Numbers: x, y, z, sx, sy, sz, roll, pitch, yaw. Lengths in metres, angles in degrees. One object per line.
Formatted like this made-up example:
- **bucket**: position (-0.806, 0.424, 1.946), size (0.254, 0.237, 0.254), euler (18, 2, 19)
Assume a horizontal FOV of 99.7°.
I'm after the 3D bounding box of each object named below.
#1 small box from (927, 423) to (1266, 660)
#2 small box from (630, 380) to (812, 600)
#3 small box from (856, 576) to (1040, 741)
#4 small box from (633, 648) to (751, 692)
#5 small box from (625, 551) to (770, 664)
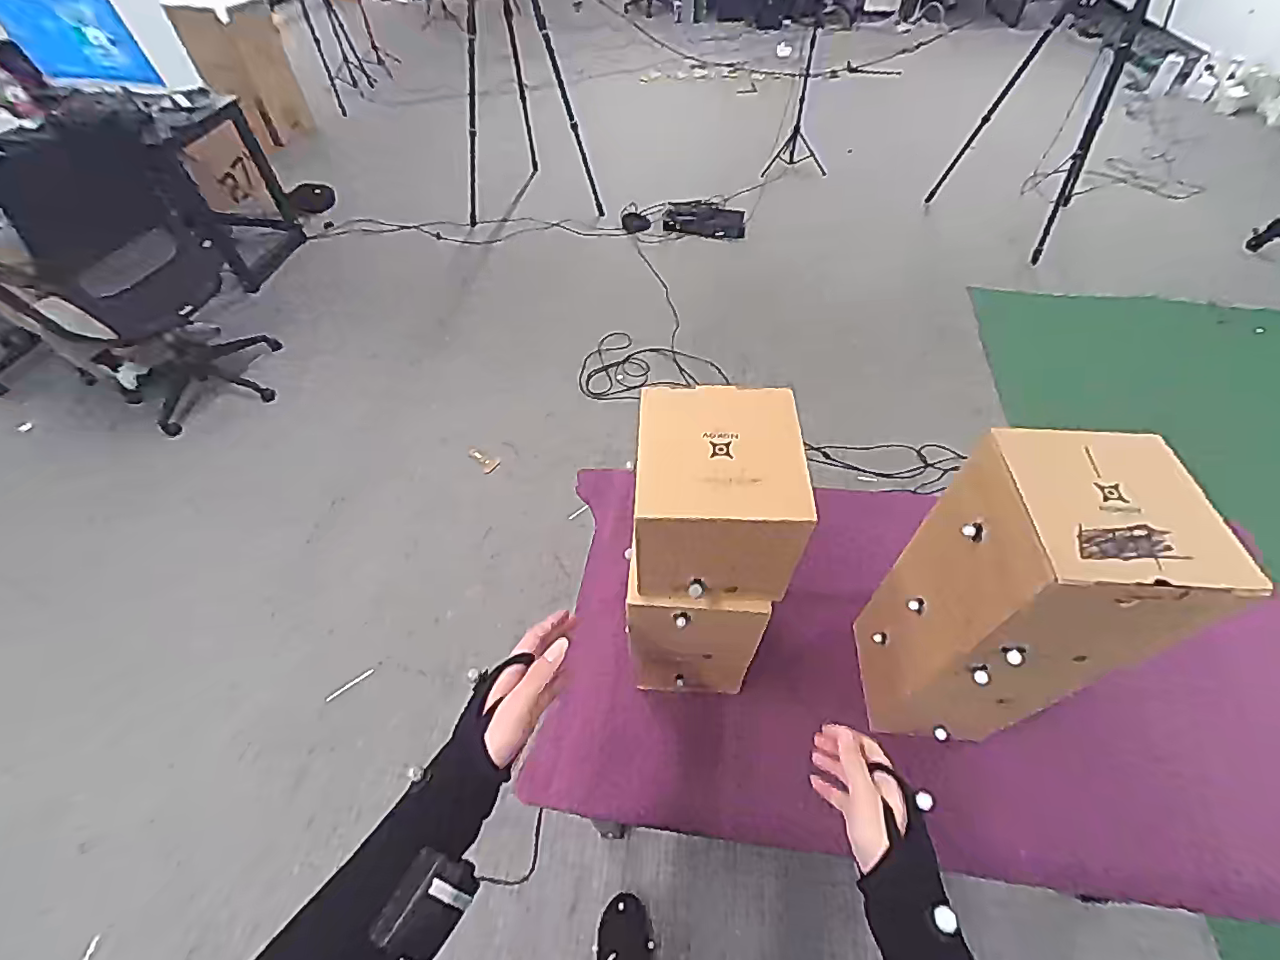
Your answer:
- **small box**: position (0.418, 0.065, 0.540), size (0.168, 0.176, 0.179), euler (3, 50, 4)
- **small box**: position (0.077, 0.013, 0.595), size (0.168, 0.176, 0.179), euler (2, 52, 3)
- **small box**: position (0.433, 0.265, 0.800), size (0.168, 0.176, 0.179), euler (4, 51, 5)
- **small box**: position (0.076, 0.215, 0.852), size (0.168, 0.176, 0.179), euler (2, 52, 2)
- **small box**: position (0.071, 0.124, 0.717), size (0.168, 0.176, 0.179), euler (3, 52, 4)
